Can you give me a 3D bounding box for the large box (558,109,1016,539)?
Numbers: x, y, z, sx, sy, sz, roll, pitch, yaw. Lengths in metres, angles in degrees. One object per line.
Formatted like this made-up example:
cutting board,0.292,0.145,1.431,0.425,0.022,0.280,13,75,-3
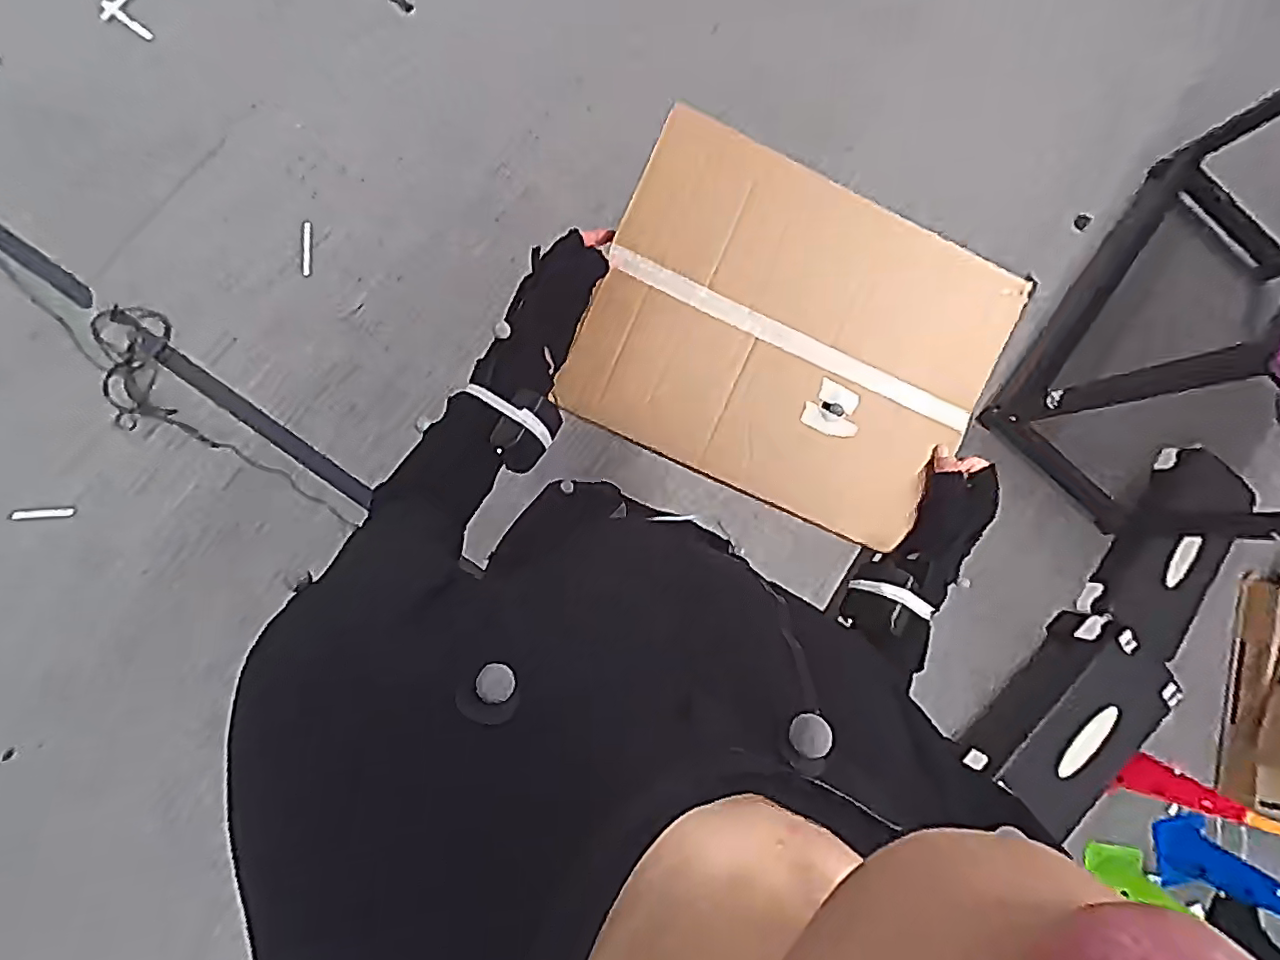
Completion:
large box,0.143,-0.164,0.703,0.408,0.320,0.320,24,95,-6
